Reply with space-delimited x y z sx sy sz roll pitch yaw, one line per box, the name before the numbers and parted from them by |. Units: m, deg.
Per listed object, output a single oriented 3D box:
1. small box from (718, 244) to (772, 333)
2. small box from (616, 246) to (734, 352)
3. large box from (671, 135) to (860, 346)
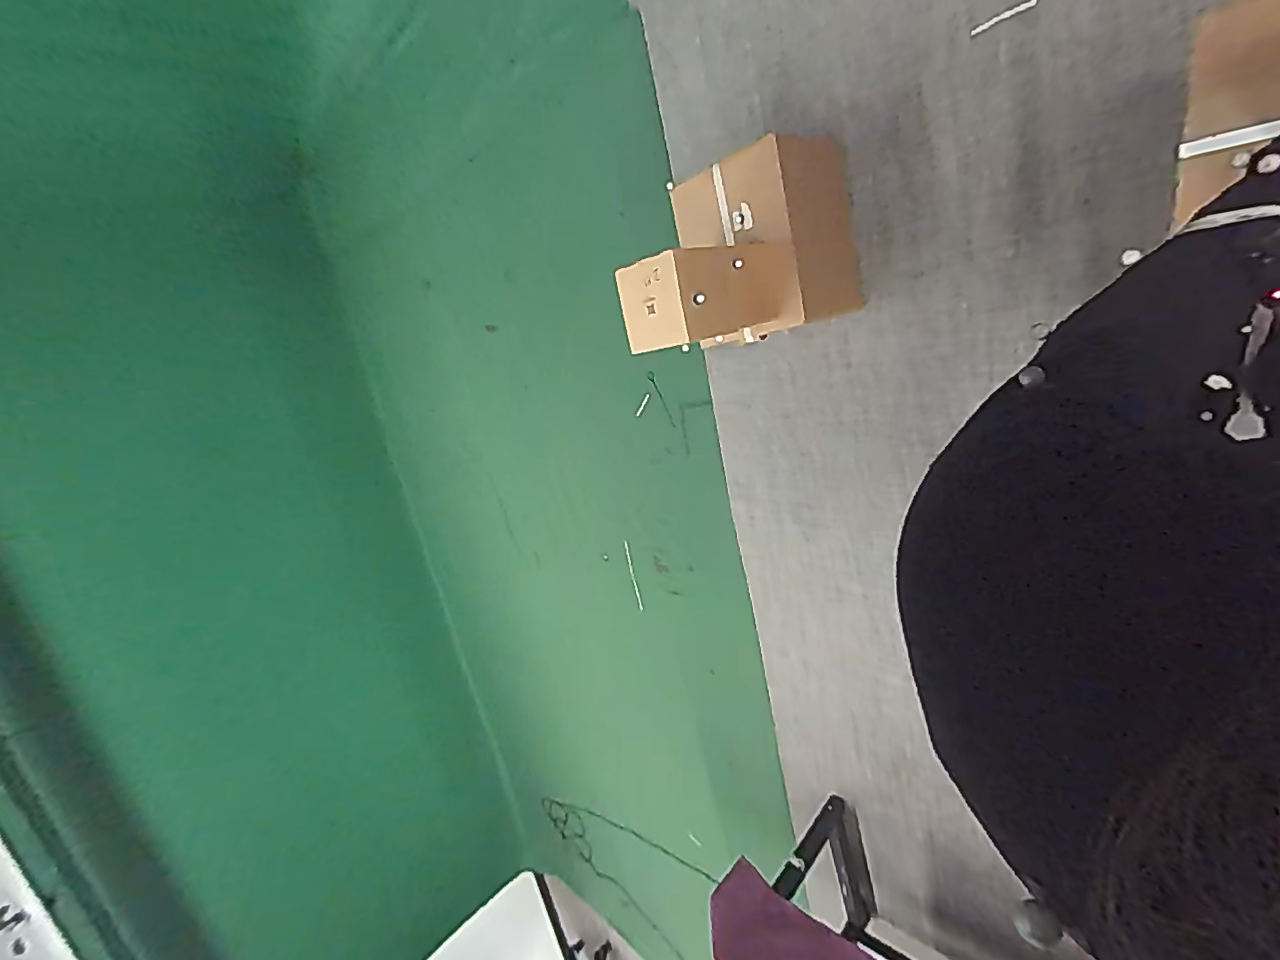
small box | 0.187 -0.430 1.240 0.168 0.176 0.179 3 110 46
small box | 0.079 -0.376 1.127 0.168 0.176 0.179 3 110 46
large box | 0.328 -0.589 1.388 0.320 0.320 0.408 0 108 47
